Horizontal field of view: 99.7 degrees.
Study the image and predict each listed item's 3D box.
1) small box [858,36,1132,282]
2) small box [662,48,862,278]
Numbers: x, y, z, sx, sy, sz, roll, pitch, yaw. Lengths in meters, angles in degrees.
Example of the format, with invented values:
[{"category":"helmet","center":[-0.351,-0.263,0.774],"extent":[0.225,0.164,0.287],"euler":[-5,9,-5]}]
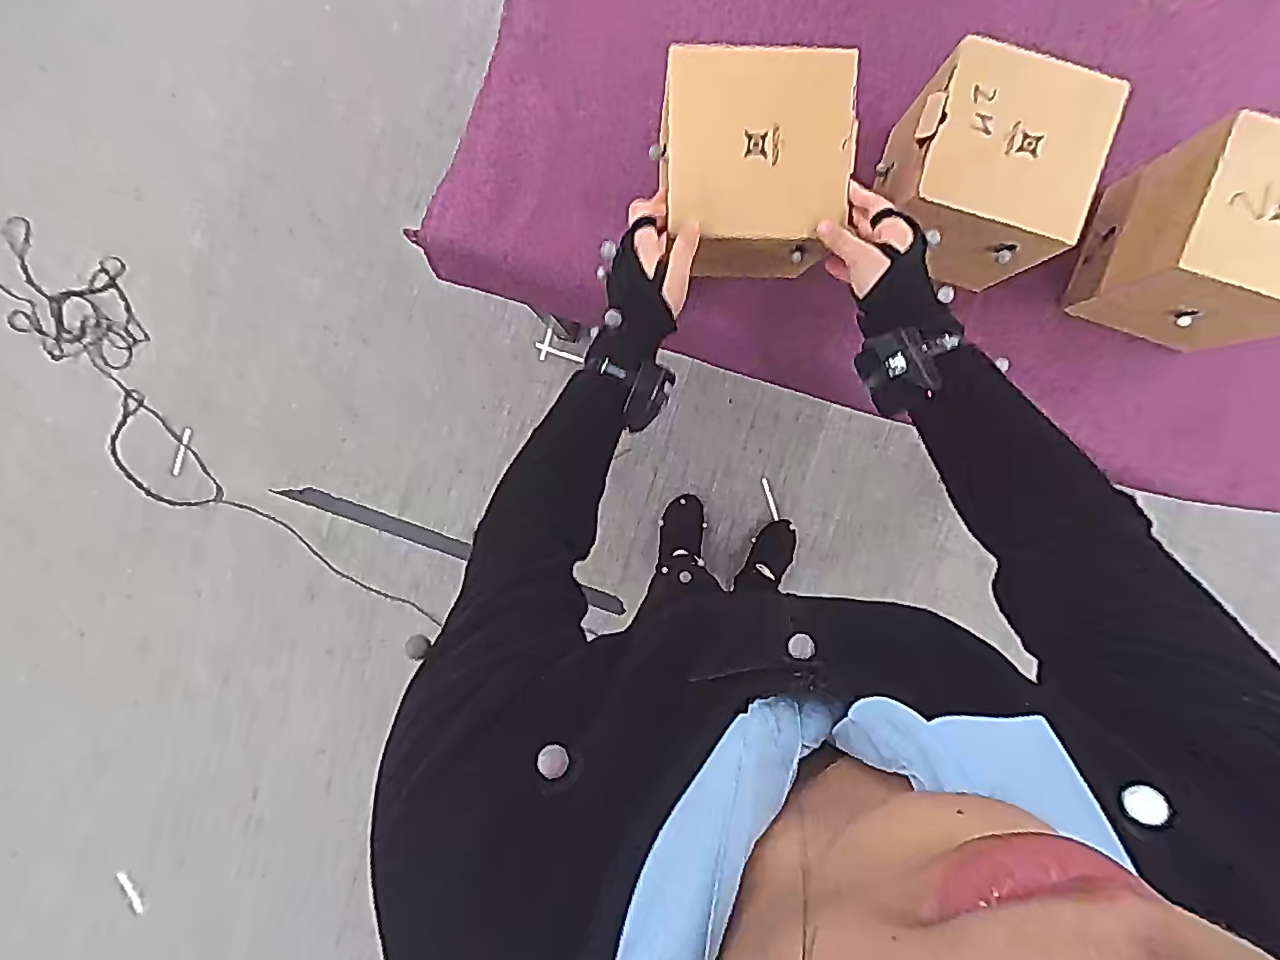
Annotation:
[{"category":"small box","center":[0.386,-0.346,0.622],"extent":[0.179,0.176,0.168],"euler":[17,93,1]},{"category":"small box","center":[0.112,-0.316,0.573],"extent":[0.179,0.176,0.168],"euler":[-1,99,-1]}]
